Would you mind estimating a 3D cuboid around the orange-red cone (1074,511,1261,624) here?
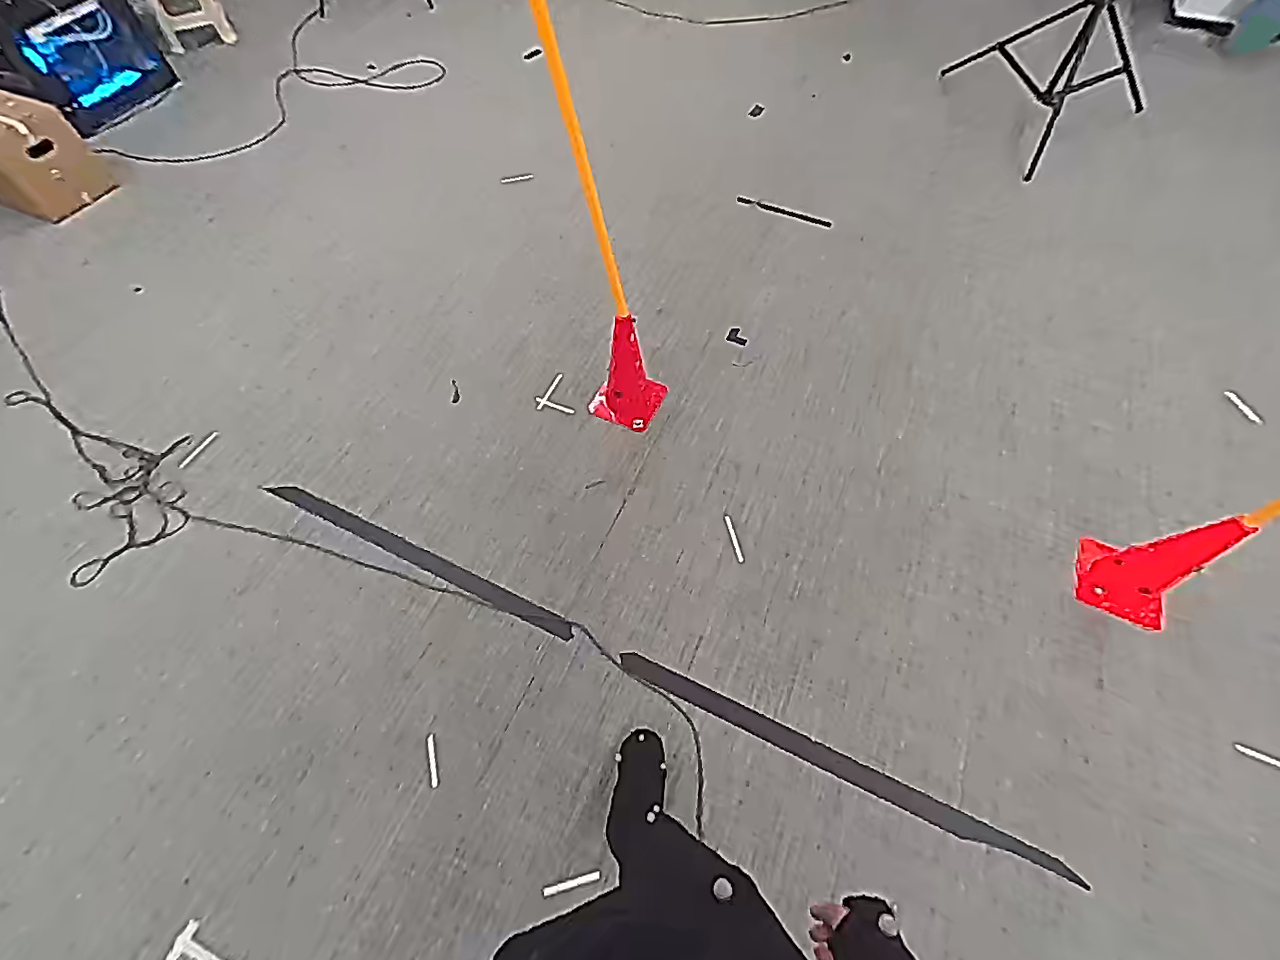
[{"bbox_3d":[1.228,0.163,1.234,0.199,0.360,0.198,25,64,14],"label":"orange-red cone"}]
